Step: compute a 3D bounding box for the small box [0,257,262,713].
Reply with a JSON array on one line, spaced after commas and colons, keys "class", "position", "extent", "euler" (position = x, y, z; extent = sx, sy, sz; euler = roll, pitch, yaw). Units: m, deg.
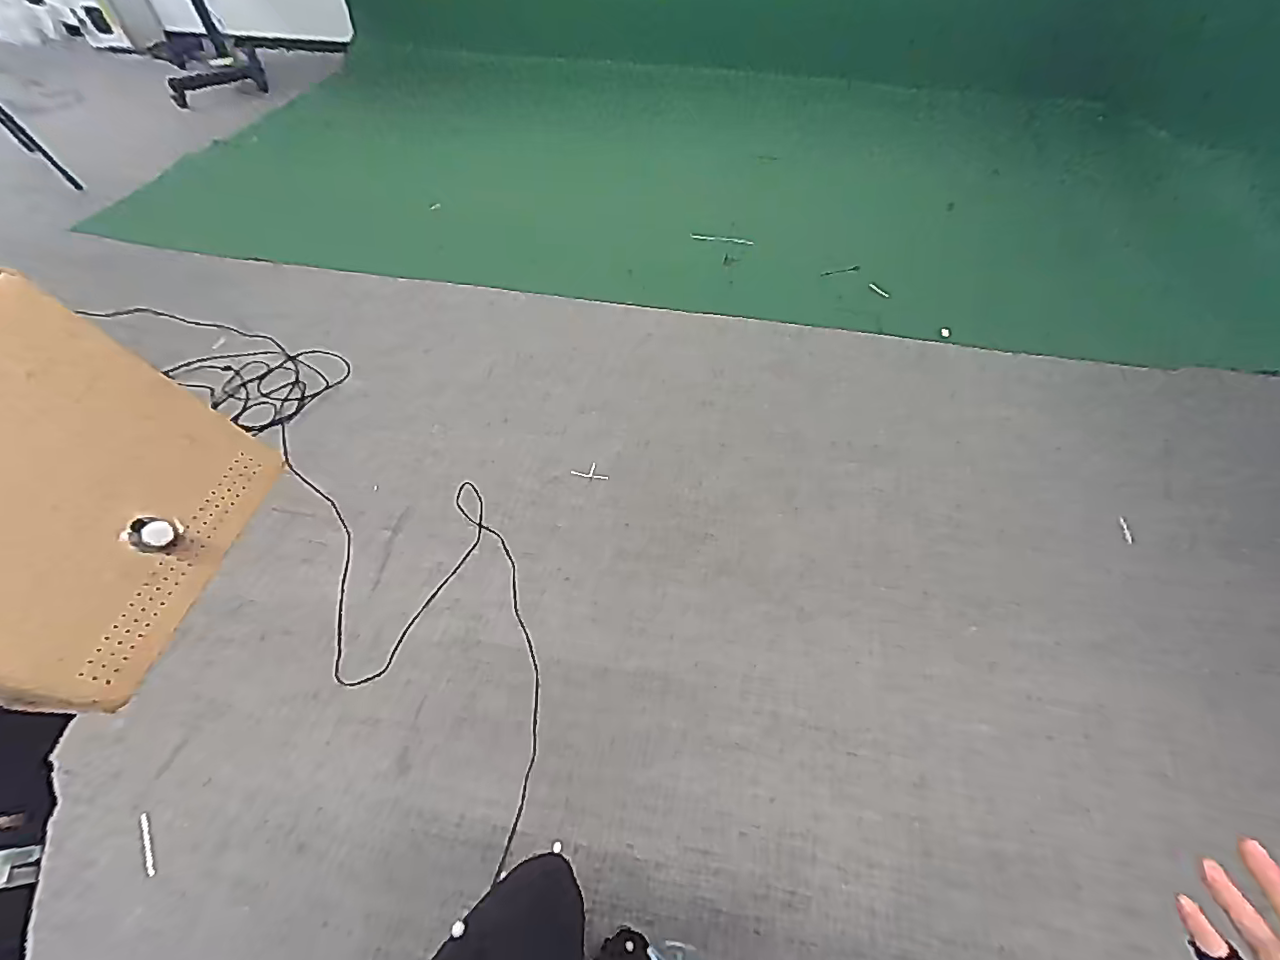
[{"class": "small box", "position": [-0.366, 0.014, 0.307], "extent": [0.168, 0.176, 0.179], "euler": [-9, 50, 24]}]
